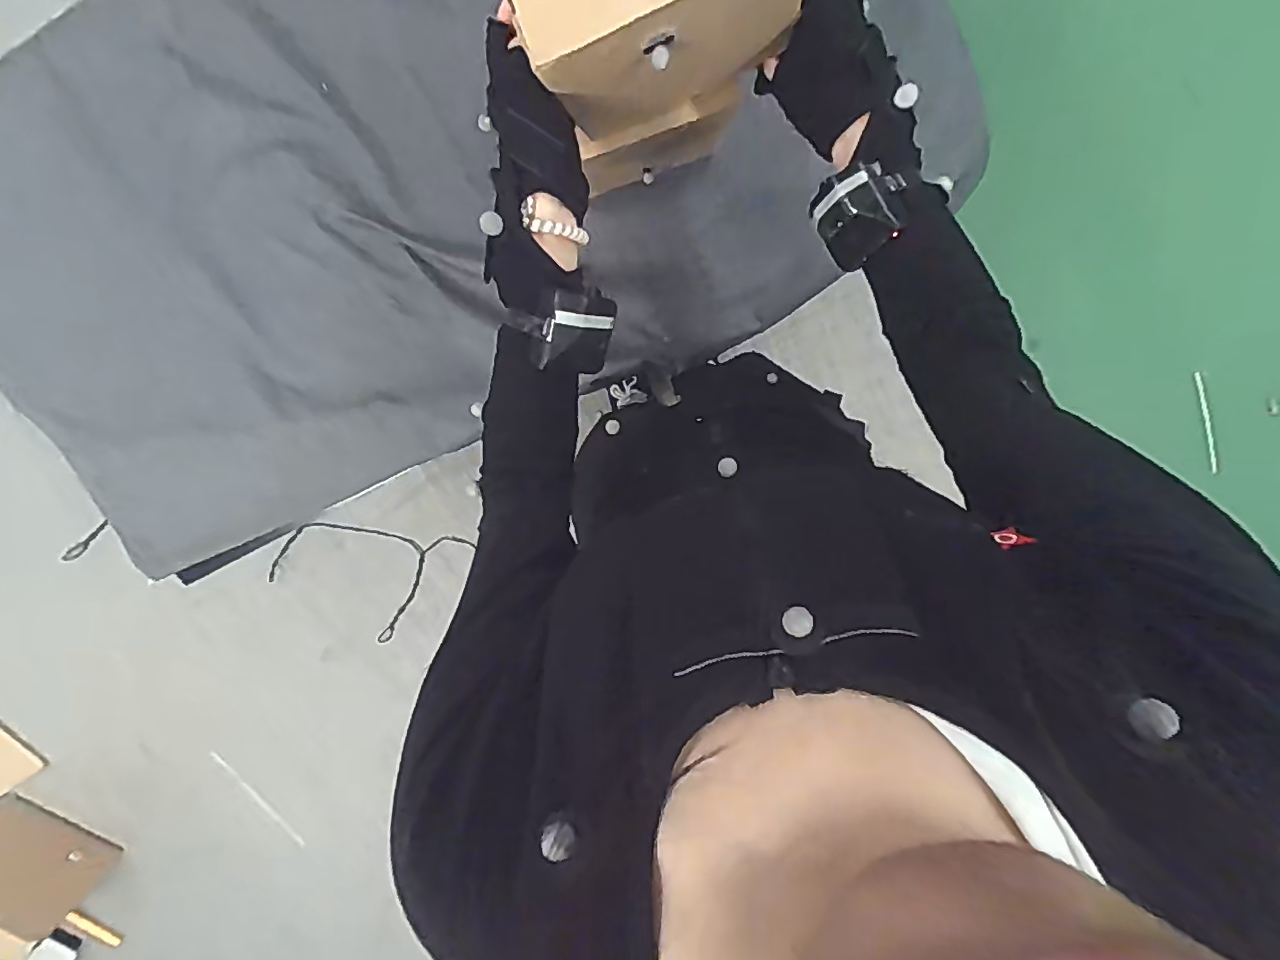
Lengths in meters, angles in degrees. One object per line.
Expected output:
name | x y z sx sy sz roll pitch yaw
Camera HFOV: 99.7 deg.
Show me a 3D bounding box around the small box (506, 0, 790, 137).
small box | 0.000 -0.367 0.363 0.179 0.176 0.168 -17 107 13
